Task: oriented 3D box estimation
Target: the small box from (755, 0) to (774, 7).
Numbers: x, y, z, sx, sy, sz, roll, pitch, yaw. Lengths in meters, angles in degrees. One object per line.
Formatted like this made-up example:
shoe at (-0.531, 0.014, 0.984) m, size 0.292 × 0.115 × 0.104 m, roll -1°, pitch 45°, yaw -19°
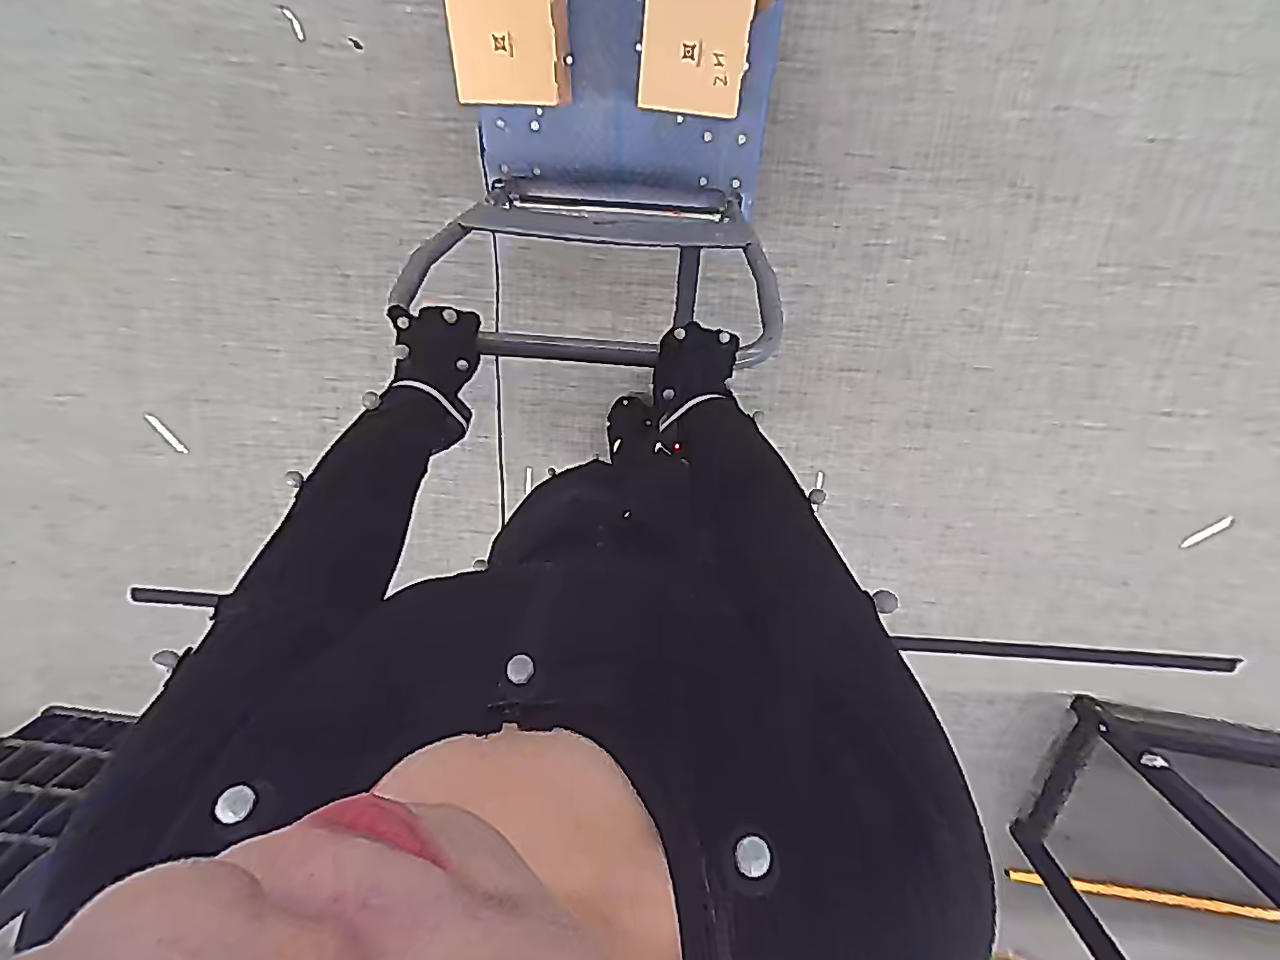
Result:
small box at (0.188, -0.895, 0.845) m, size 0.168 × 0.176 × 0.179 m, roll 25°, pitch 123°, yaw -13°

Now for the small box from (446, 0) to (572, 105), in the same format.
small box at (-0.222, -0.768, 0.959) m, size 0.179 × 0.176 × 0.168 m, roll 1°, pitch 124°, yaw 1°

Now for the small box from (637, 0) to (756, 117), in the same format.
small box at (0.094, -0.748, 0.952) m, size 0.179 × 0.176 × 0.168 m, roll 7°, pitch 125°, yaw -1°
